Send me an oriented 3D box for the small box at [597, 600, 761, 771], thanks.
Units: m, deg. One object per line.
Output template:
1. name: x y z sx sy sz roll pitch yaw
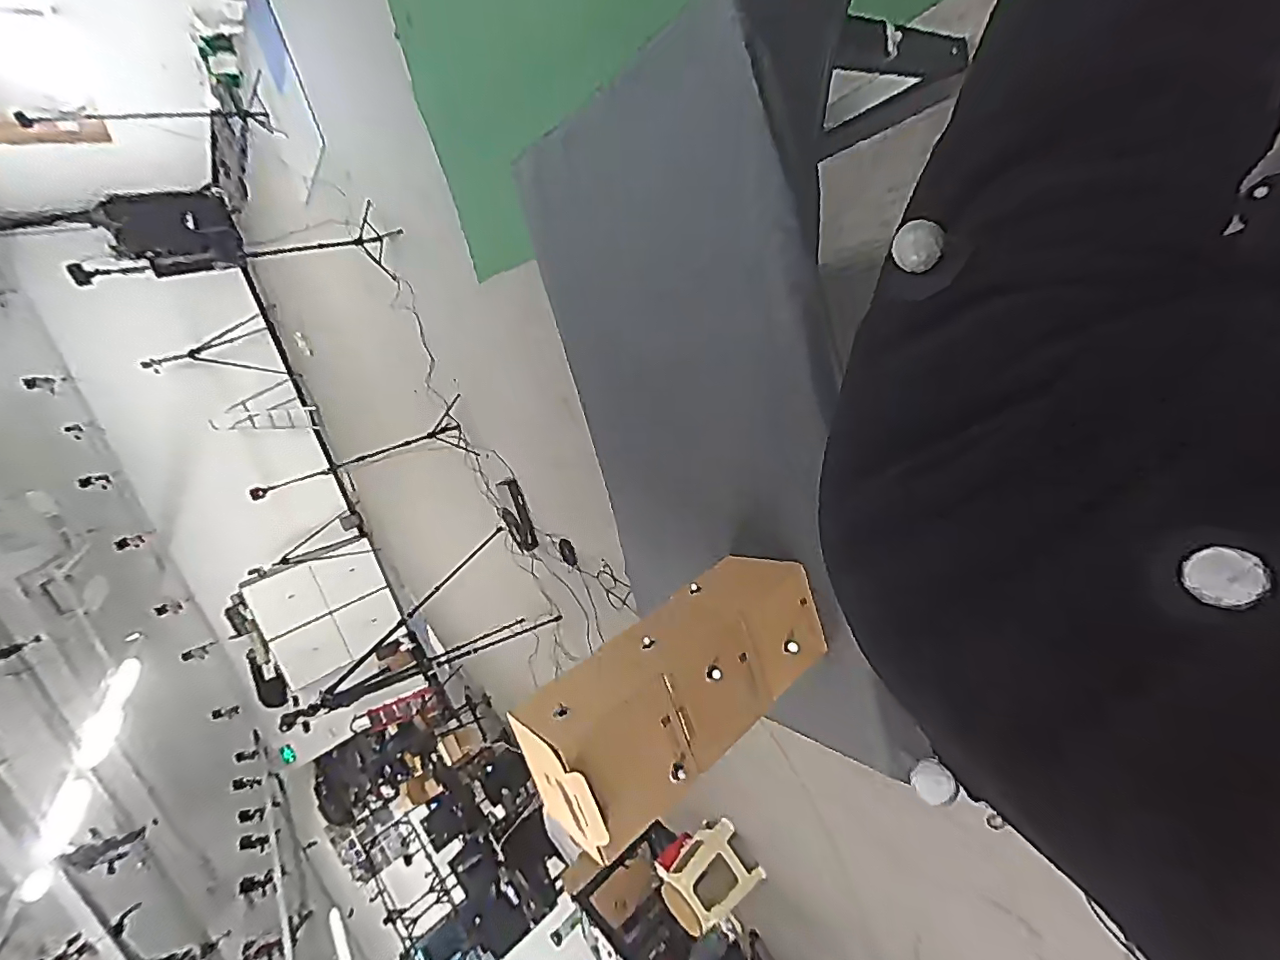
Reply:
1. small box: 0.067 0.303 0.844 0.179 0.176 0.168 -6 106 55

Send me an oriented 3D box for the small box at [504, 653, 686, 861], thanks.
1. small box: -0.056 0.363 0.753 0.179 0.176 0.168 -8 104 55

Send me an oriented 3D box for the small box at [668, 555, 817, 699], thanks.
1. small box: 0.185 0.241 0.938 0.179 0.176 0.168 -4 108 54
